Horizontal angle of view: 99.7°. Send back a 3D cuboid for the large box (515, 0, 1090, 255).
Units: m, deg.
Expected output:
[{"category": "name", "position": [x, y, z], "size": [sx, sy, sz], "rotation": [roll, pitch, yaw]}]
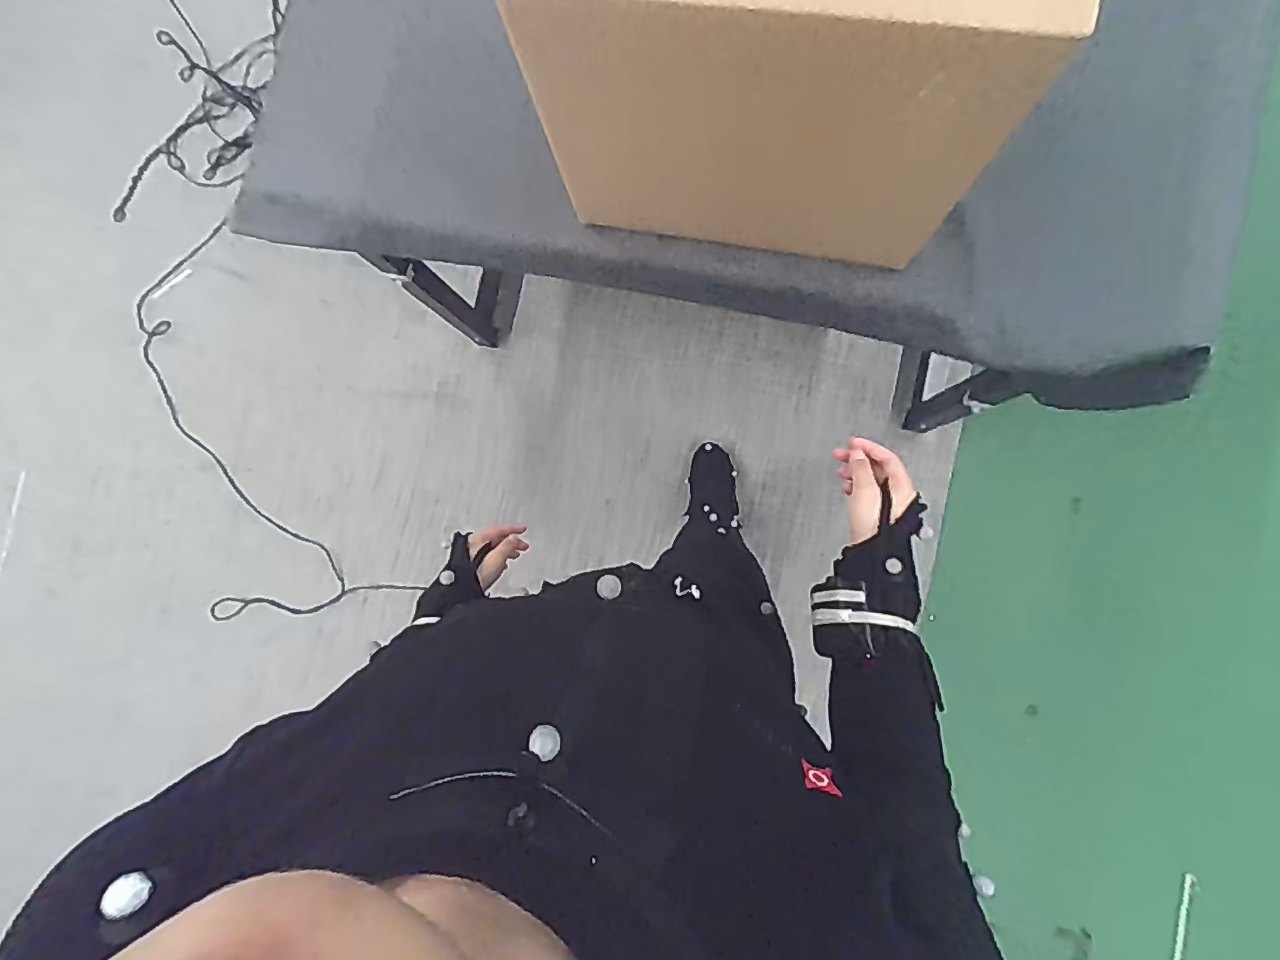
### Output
[{"category": "large box", "position": [0.132, -0.459, 0.527], "size": [0.408, 0.320, 0.320], "rotation": [11, 87, 5]}]
